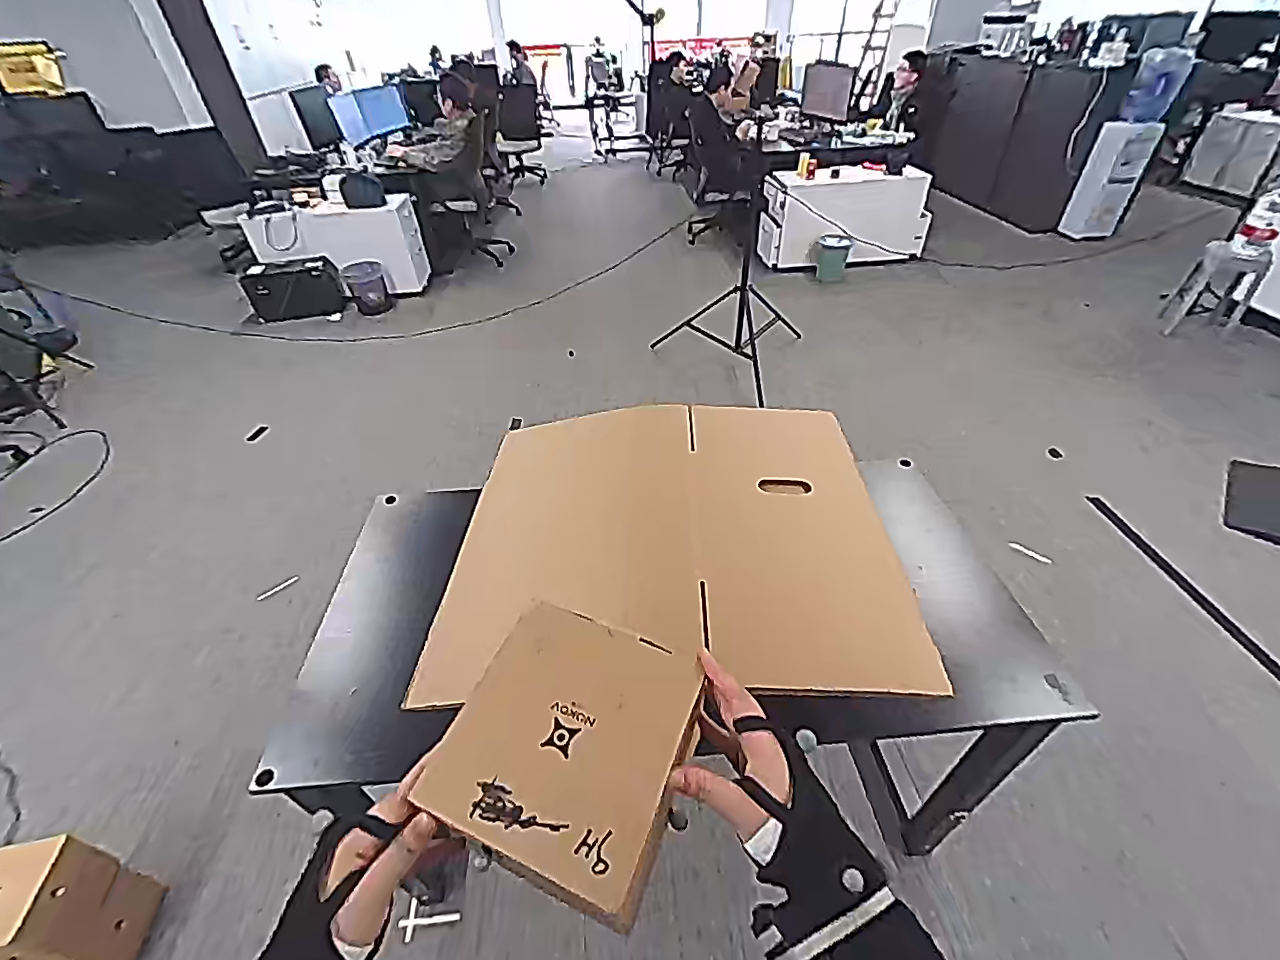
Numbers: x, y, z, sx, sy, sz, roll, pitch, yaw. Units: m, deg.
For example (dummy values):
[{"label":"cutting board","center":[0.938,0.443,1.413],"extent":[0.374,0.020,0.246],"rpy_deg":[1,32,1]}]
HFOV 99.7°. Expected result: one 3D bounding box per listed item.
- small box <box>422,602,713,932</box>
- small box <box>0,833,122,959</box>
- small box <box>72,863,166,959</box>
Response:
[{"label":"small box","center":[-0.046,0.243,0.467],"extent":[0.168,0.176,0.179],"rpy_deg":[16,48,18]},{"label":"small box","center":[-1.185,0.832,1.057],"extent":[0.168,0.176,0.179],"rpy_deg":[-8,39,-8]},{"label":"small box","center":[-1.177,0.959,1.158],"extent":[0.168,0.176,0.179],"rpy_deg":[-7,41,-5]}]
